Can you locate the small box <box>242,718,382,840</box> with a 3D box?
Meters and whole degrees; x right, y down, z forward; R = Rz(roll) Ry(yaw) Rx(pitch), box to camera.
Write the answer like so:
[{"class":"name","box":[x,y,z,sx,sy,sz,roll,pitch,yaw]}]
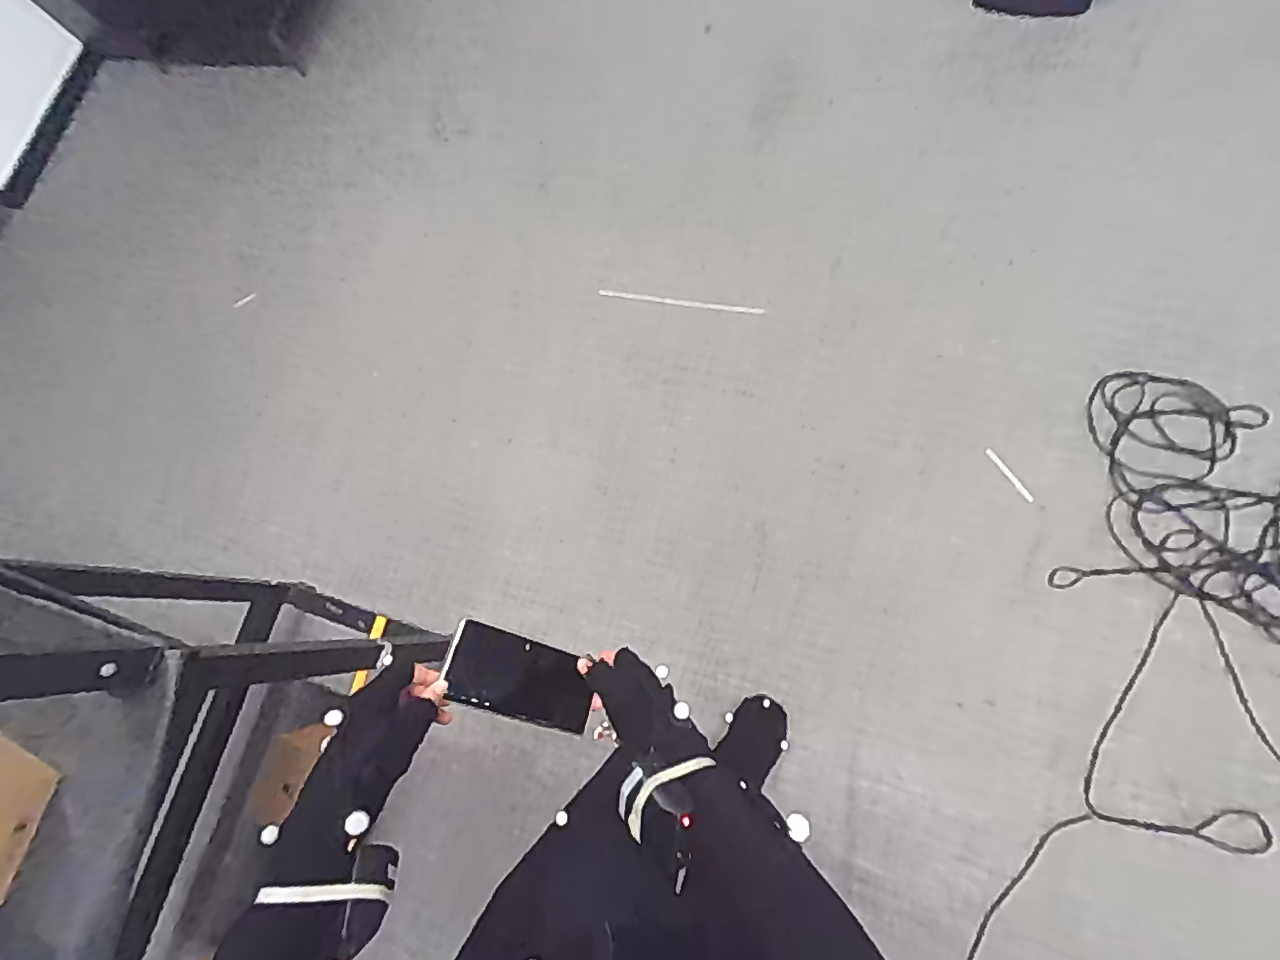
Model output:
[{"class":"small box","box":[-0.717,0.650,1.203,0.179,0.176,0.168,17,80,16]}]
